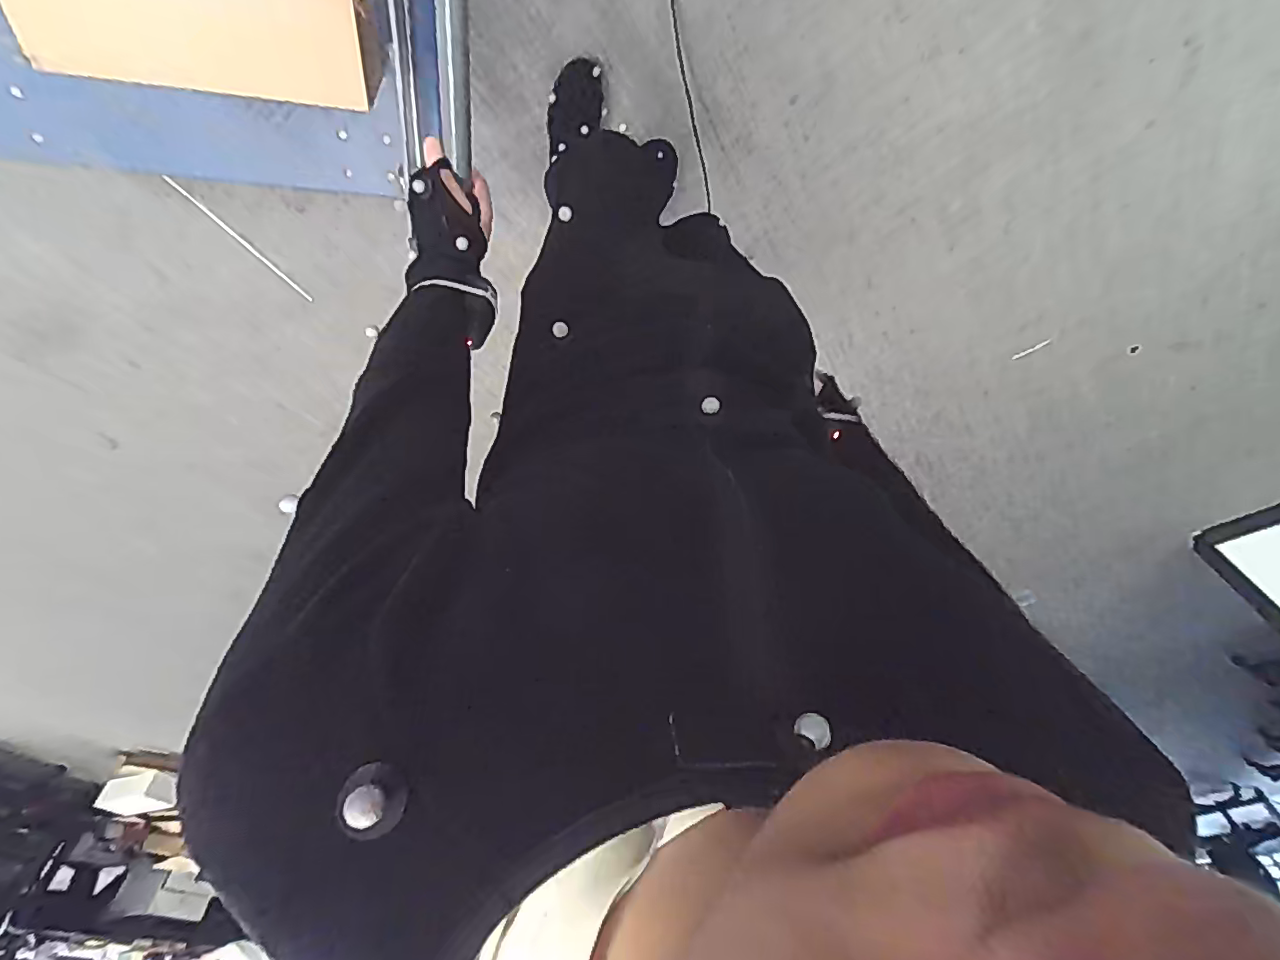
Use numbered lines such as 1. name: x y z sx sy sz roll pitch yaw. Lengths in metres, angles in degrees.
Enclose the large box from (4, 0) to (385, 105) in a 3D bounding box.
1. large box: -0.610 -0.764 0.756 0.408 0.320 0.320 -3 135 -16
